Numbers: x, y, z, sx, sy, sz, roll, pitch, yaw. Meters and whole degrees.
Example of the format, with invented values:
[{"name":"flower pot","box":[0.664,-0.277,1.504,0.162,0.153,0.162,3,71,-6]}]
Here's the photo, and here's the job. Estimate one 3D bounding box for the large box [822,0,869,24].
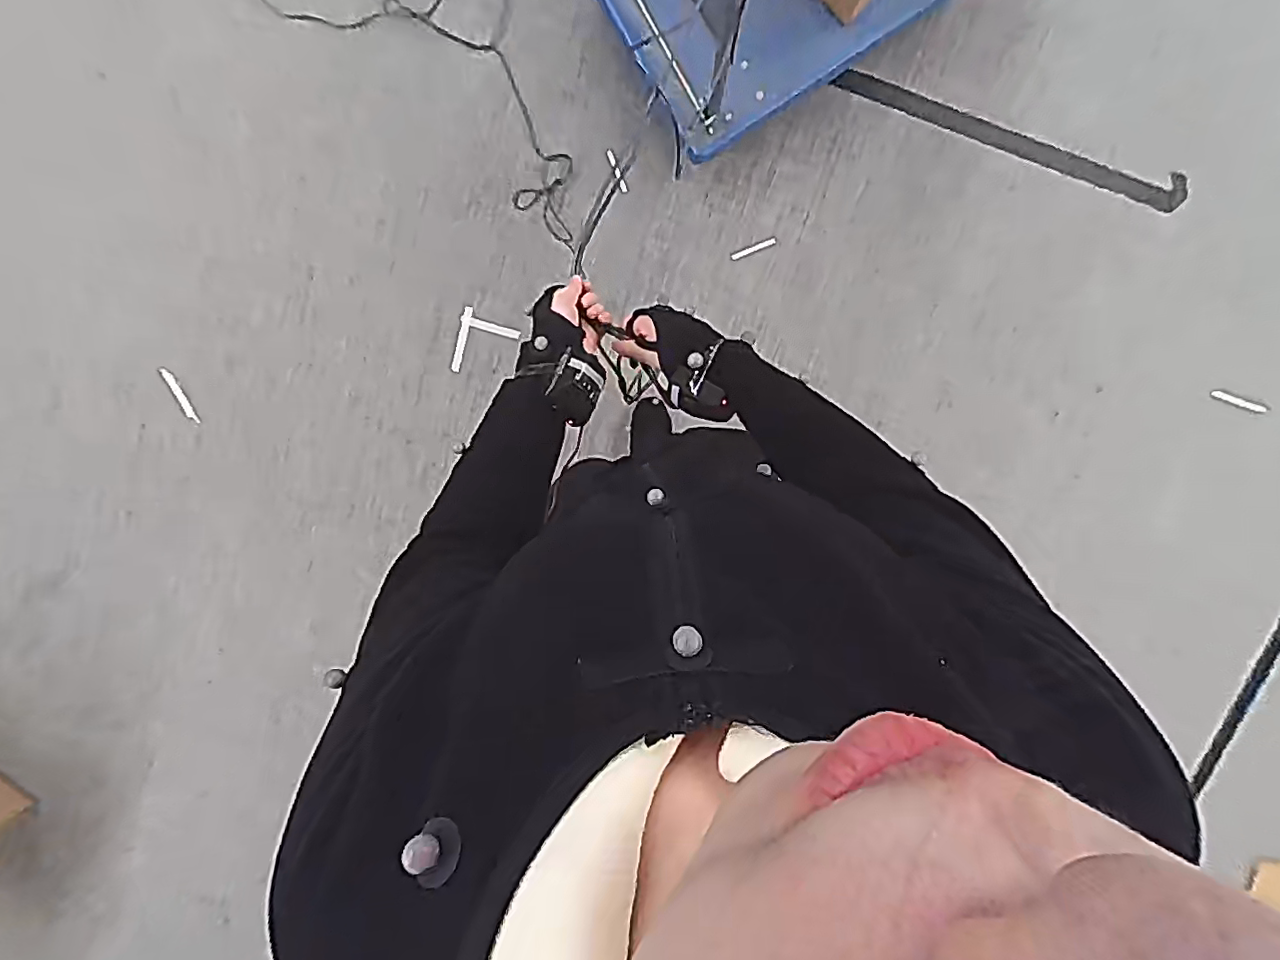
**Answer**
[{"name":"large box","box":[0.397,-1.184,0.970,0.408,0.320,0.320,43,98,-6]}]
